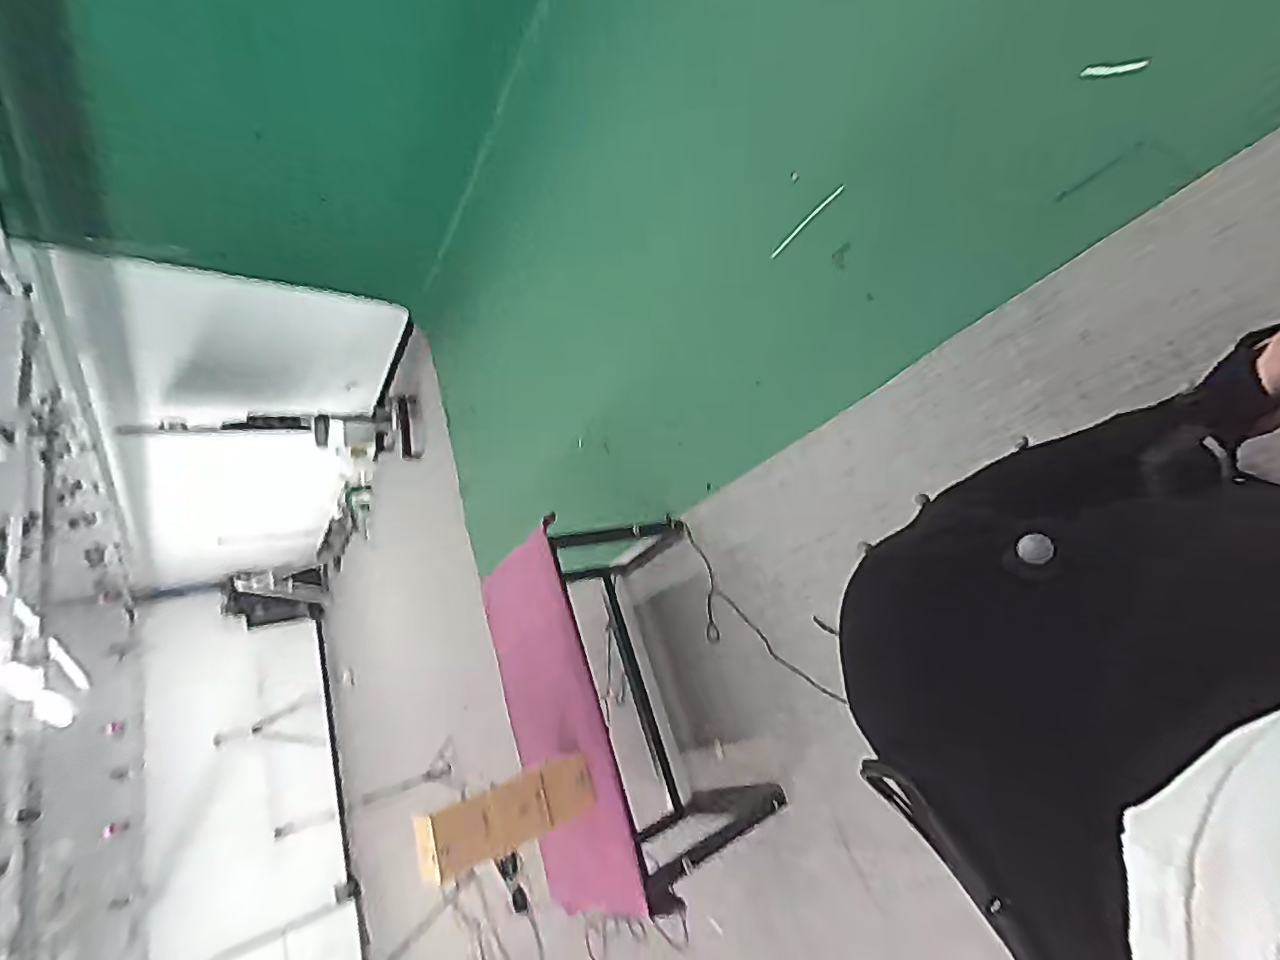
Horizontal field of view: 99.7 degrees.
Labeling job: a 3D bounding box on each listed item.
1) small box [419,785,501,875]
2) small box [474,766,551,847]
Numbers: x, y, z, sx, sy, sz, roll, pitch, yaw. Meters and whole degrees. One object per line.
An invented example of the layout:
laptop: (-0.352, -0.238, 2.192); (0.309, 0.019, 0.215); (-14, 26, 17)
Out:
small box: (-0.517, 0.998, 1.552); (0.179, 0.176, 0.168); (-39, 63, 45)
small box: (-0.386, 0.989, 1.650); (0.179, 0.176, 0.168); (-37, 64, 45)
